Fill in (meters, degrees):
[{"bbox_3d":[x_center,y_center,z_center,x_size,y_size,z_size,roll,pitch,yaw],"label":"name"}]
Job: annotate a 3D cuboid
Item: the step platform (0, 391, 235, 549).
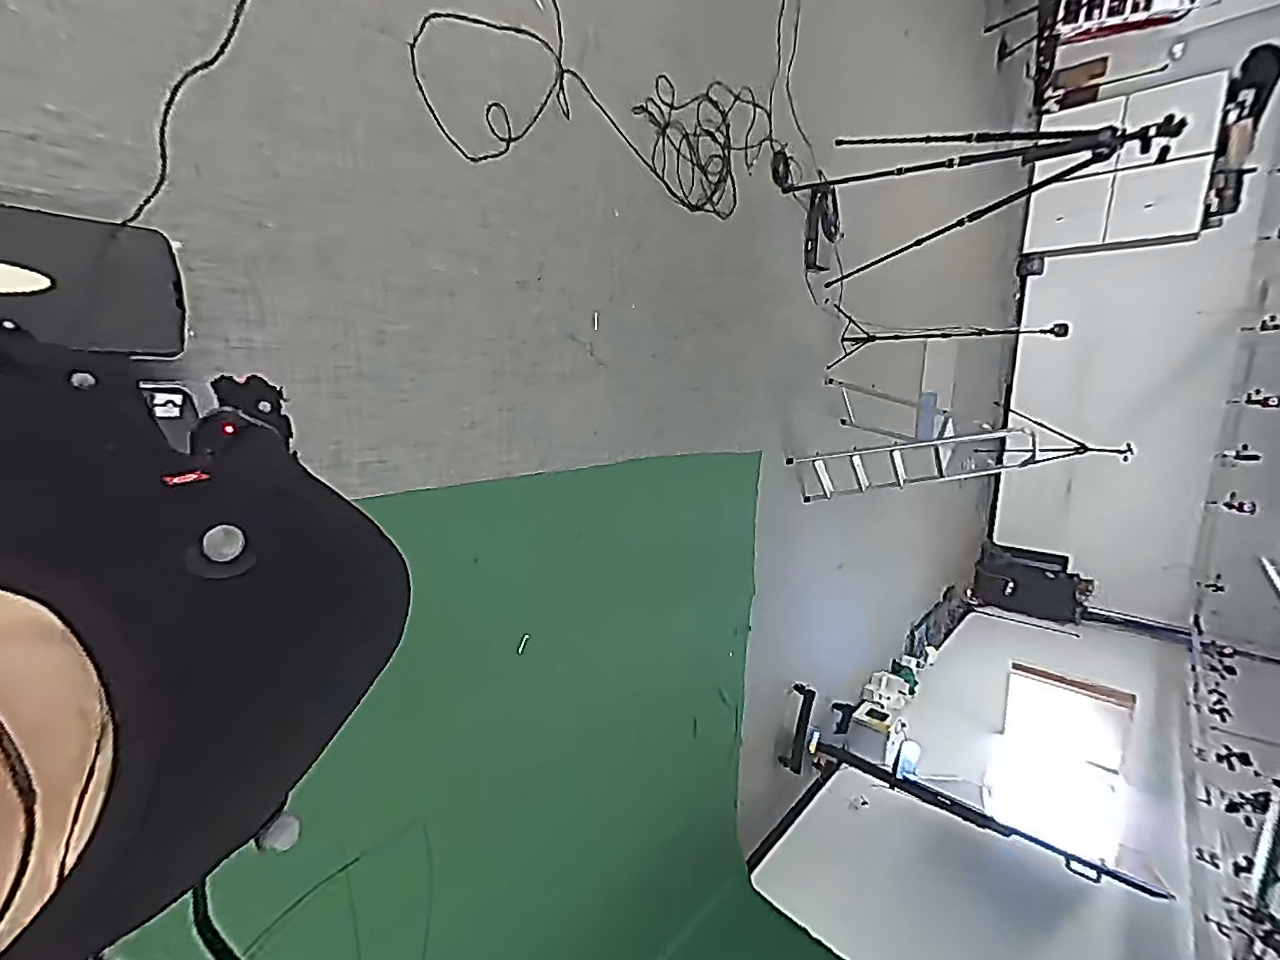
[{"bbox_3d":[-1.119,-0.004,0.903,0.684,0.204,0.286,-10,105,-47],"label":"step platform"}]
